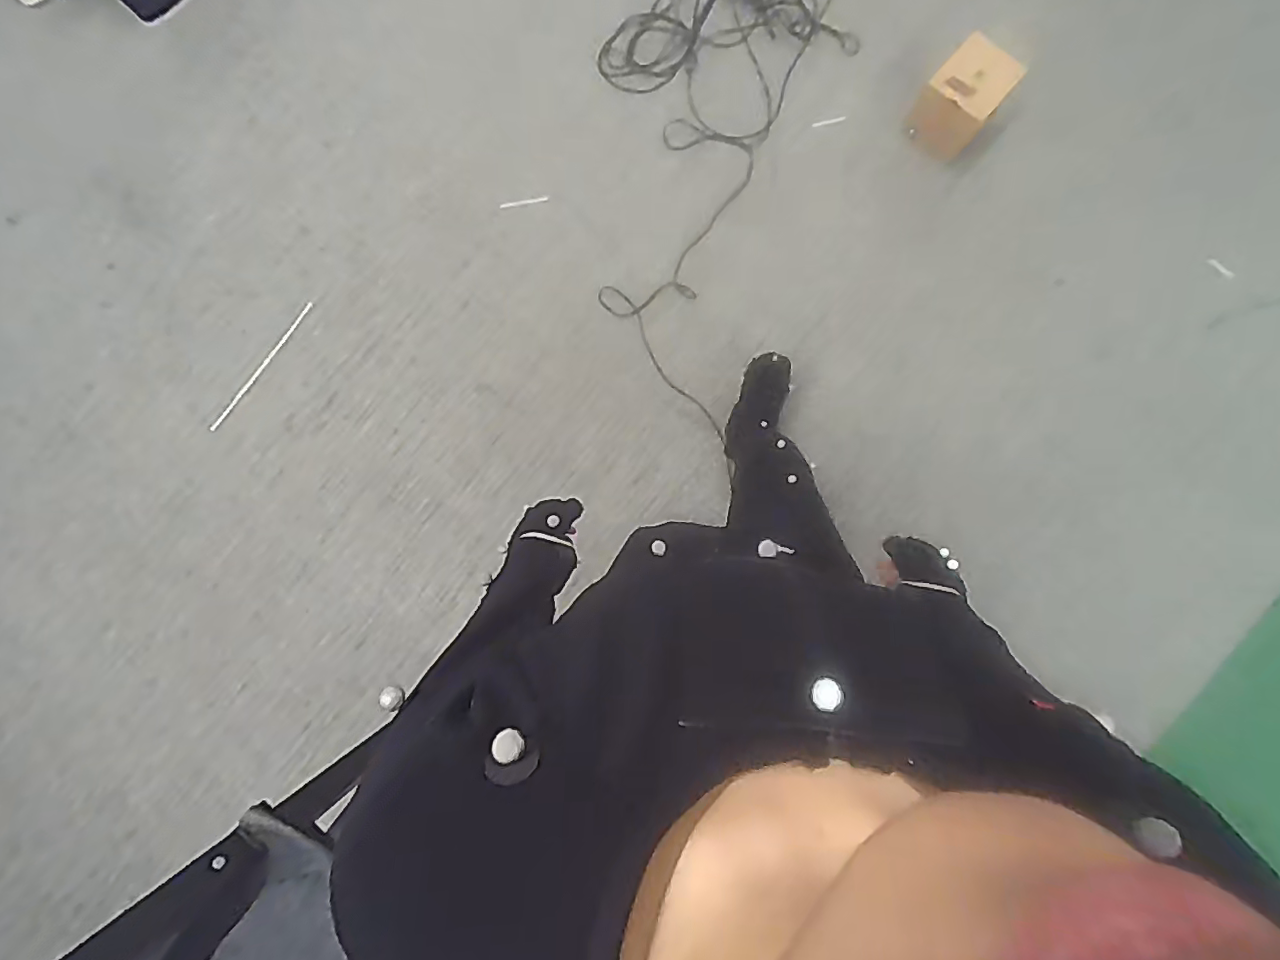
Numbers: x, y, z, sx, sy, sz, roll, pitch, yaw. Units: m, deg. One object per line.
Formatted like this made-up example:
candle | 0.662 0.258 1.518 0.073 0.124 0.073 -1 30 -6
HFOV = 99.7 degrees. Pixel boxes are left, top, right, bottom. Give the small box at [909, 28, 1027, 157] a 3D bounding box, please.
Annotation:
small box | 0.832 -0.990 1.399 0.168 0.176 0.179 42 91 5
